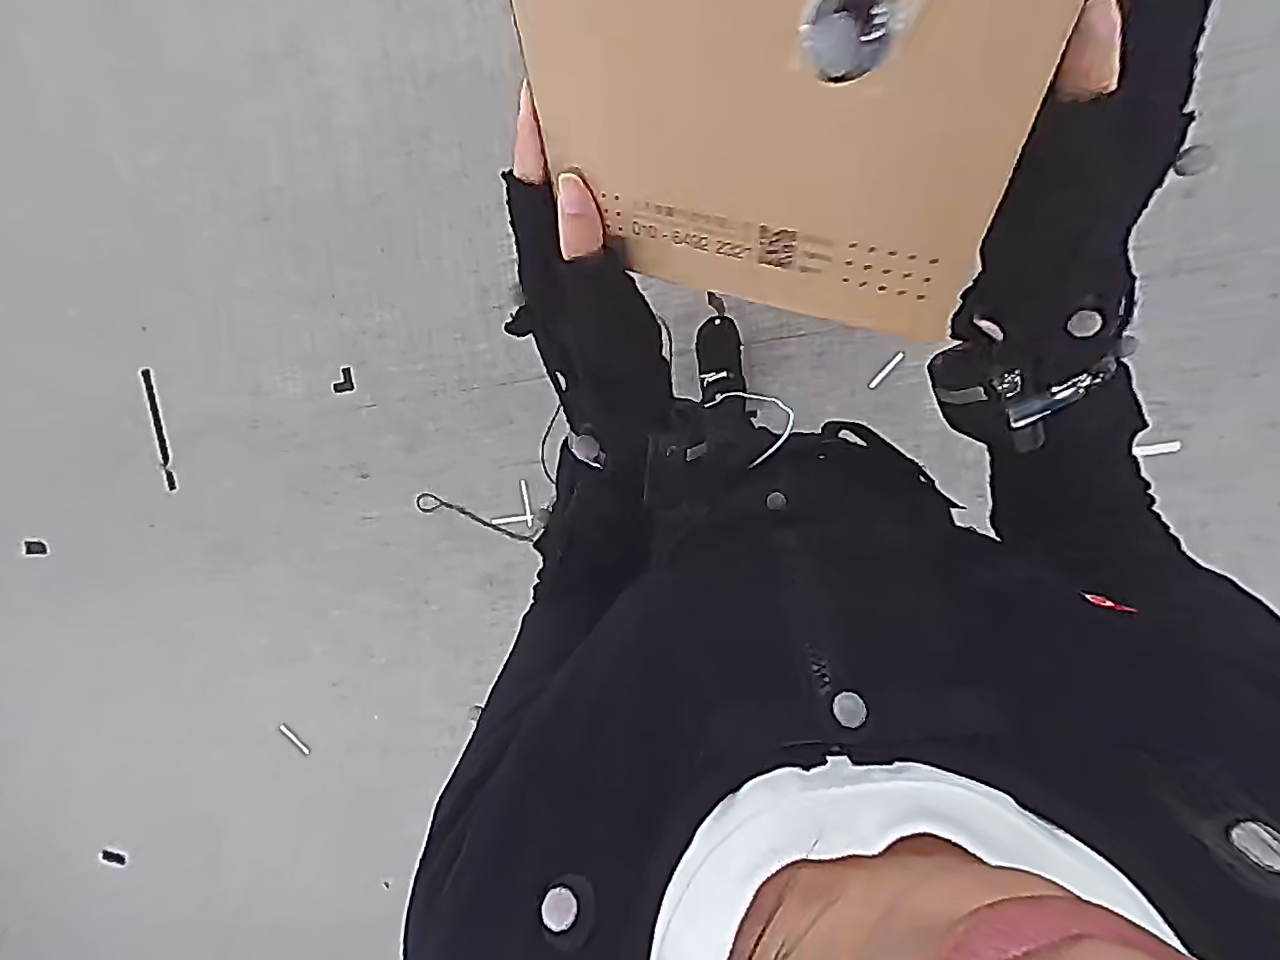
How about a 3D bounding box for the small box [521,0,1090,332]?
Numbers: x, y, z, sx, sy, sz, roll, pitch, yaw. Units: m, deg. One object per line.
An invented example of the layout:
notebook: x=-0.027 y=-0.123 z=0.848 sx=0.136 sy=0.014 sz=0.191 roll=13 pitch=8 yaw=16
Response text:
small box: x=0.070 y=-0.185 z=0.206 sx=0.168 sy=0.176 sz=0.179 roll=26 pitch=61 yaw=25
